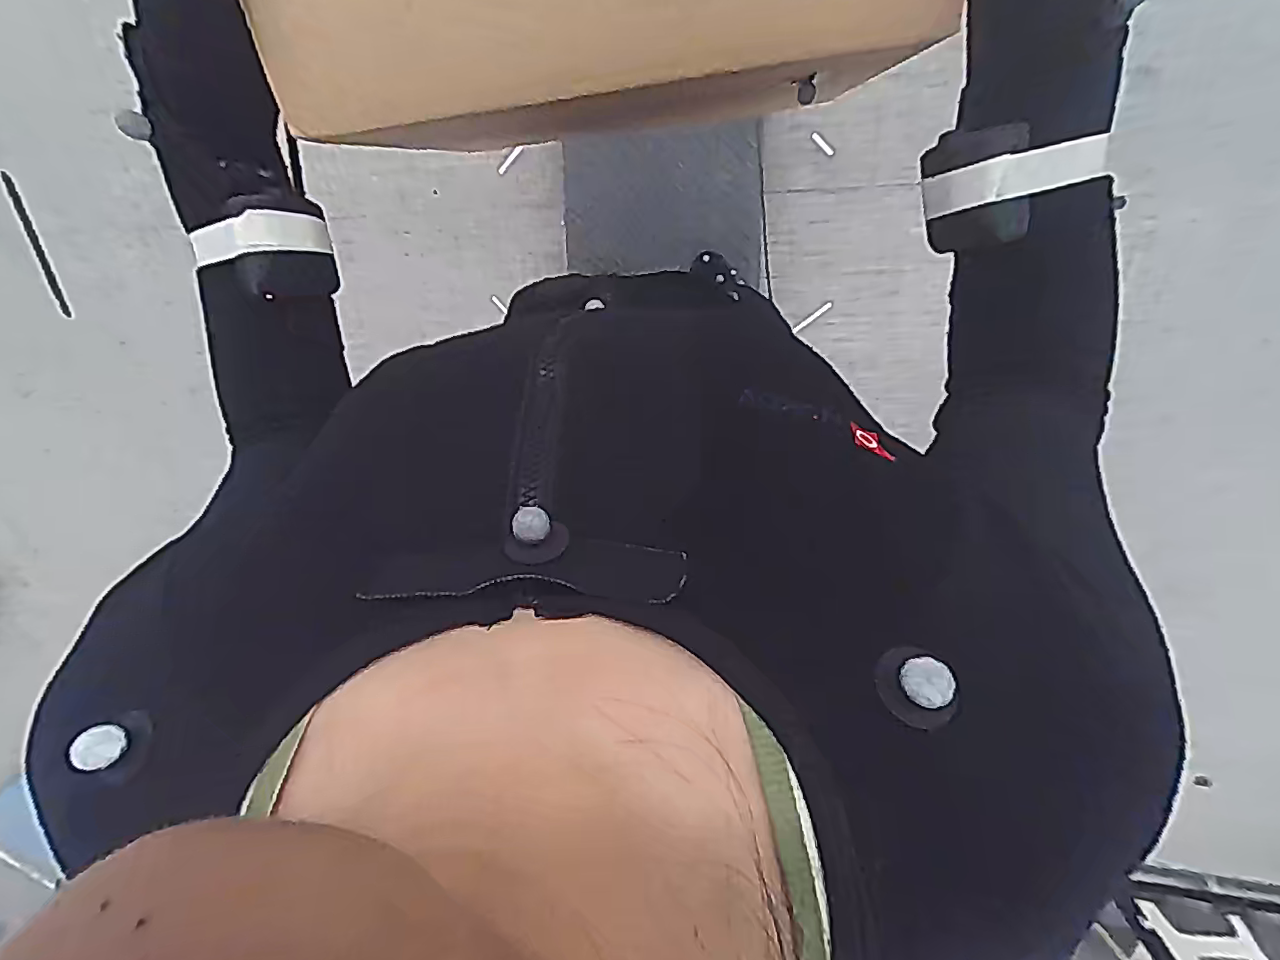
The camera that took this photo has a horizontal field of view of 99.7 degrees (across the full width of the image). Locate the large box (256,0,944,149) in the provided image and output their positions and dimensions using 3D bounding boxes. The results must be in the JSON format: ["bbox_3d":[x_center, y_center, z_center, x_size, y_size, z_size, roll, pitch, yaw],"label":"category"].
[{"bbox_3d":[-0.030,-0.444,0.388,0.408,0.320,0.320,-3,119,7],"label":"large box"}]
